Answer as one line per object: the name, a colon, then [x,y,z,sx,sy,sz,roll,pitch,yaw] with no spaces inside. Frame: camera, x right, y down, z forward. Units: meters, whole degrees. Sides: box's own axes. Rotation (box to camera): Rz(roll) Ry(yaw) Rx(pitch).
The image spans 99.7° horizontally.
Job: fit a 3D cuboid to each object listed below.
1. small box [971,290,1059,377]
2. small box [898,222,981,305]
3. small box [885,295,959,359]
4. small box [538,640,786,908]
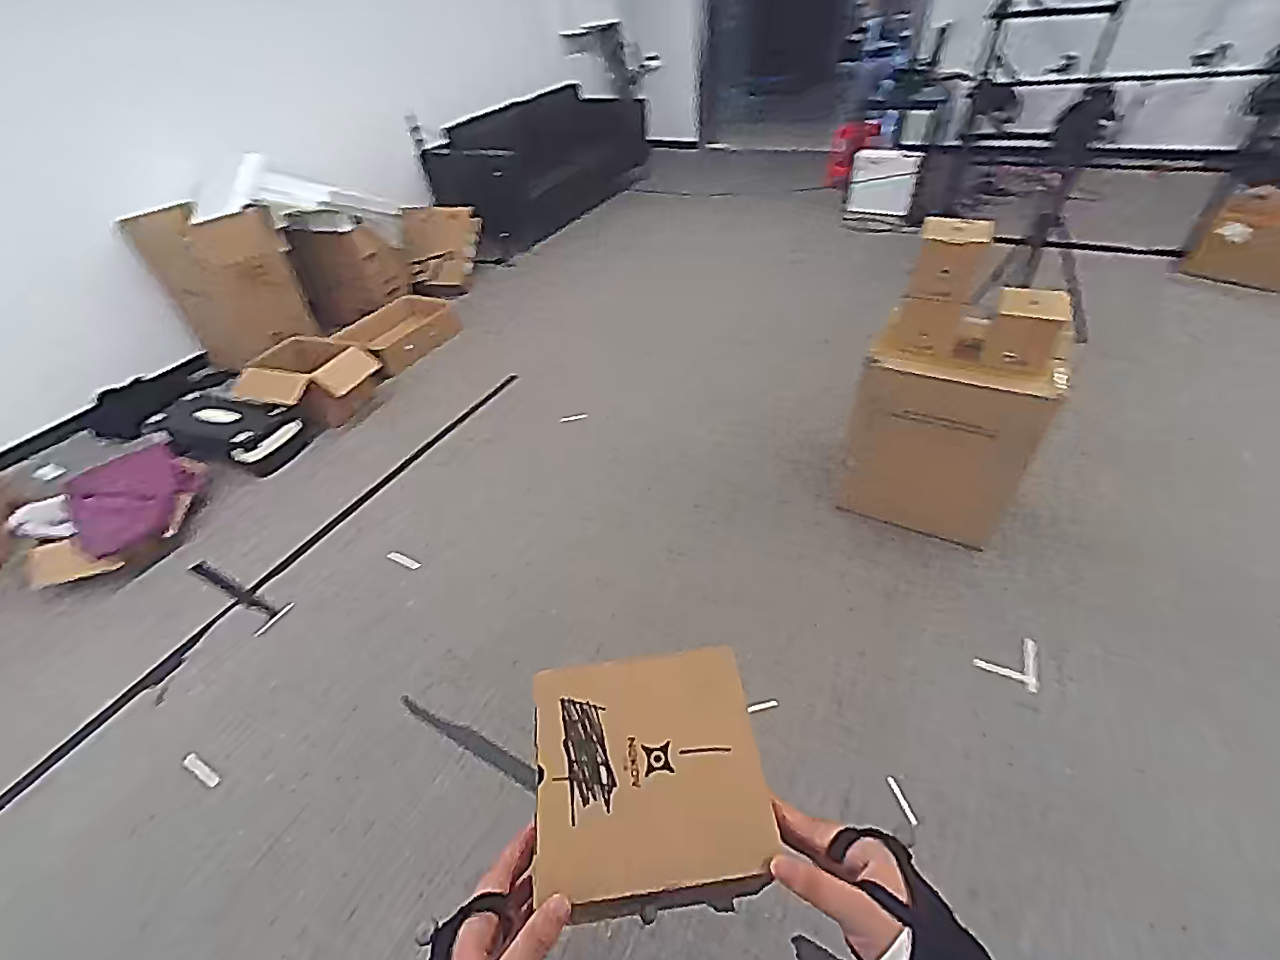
small box: [1.073,-0.422,1.552,0.168,0.176,0.179,15,48,25]
small box: [0.854,-0.619,1.548,0.168,0.176,0.179,16,47,21]
small box: [0.866,-0.497,1.658,0.168,0.176,0.179,17,48,22]
small box: [0.012,0.264,0.481,0.179,0.176,0.168,-6,49,-3]
